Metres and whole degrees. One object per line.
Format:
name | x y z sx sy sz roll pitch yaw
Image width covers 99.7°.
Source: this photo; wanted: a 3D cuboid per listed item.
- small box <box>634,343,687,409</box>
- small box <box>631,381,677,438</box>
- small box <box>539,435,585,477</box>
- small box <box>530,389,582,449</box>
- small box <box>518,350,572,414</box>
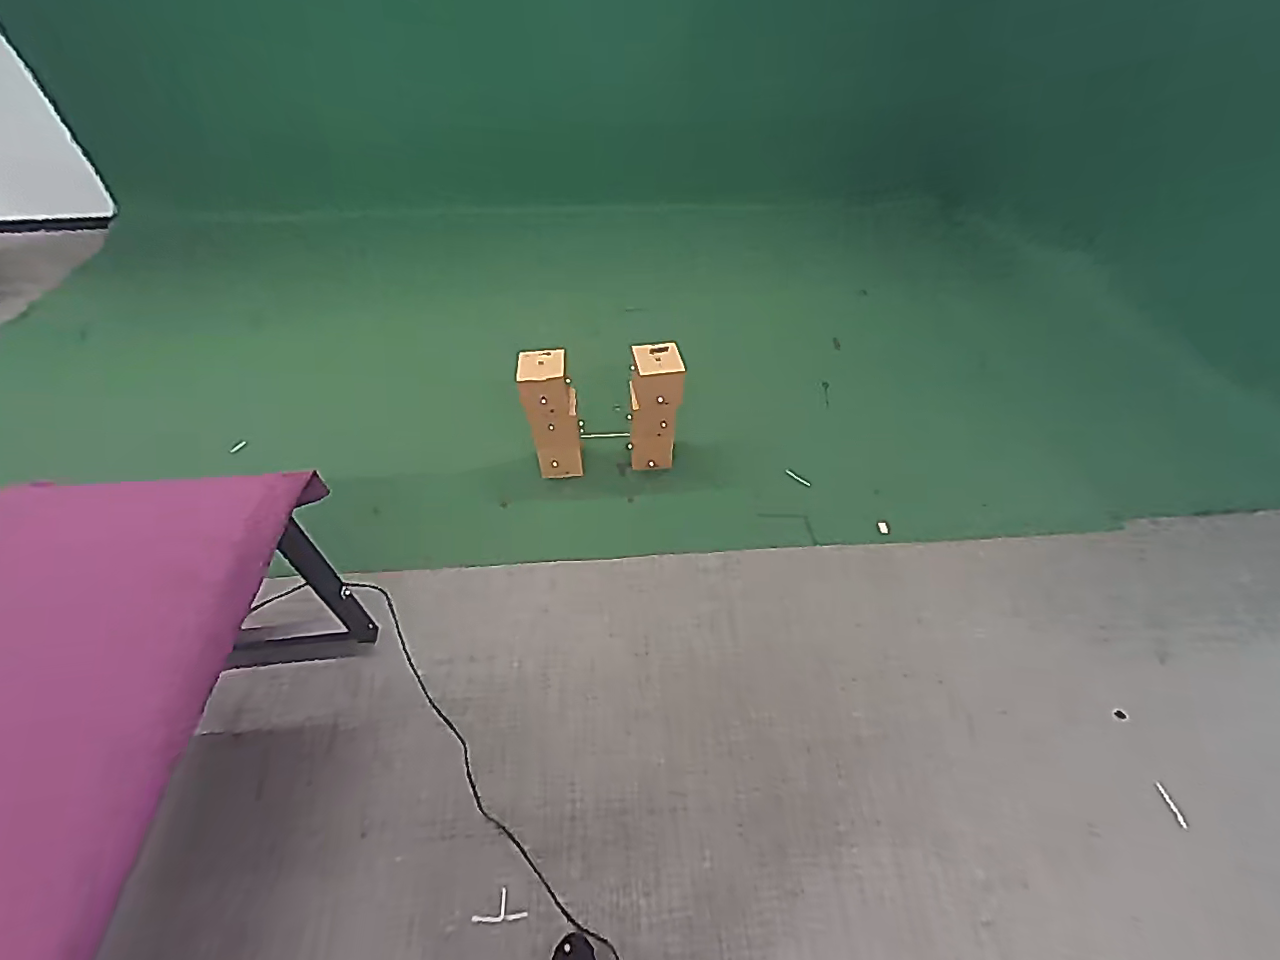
small box | 0.070 -0.385 2.004 0.168 0.176 0.179 -7 50 -7
small box | 0.054 -0.275 2.125 0.168 0.176 0.179 -3 48 -4
small box | -0.315 -0.125 2.215 0.168 0.176 0.179 -5 47 -3
small box | -0.320 -0.233 2.091 0.179 0.176 0.168 -4 47 -3
small box | -0.342 -0.354 1.979 0.168 0.176 0.179 -4 48 -2
